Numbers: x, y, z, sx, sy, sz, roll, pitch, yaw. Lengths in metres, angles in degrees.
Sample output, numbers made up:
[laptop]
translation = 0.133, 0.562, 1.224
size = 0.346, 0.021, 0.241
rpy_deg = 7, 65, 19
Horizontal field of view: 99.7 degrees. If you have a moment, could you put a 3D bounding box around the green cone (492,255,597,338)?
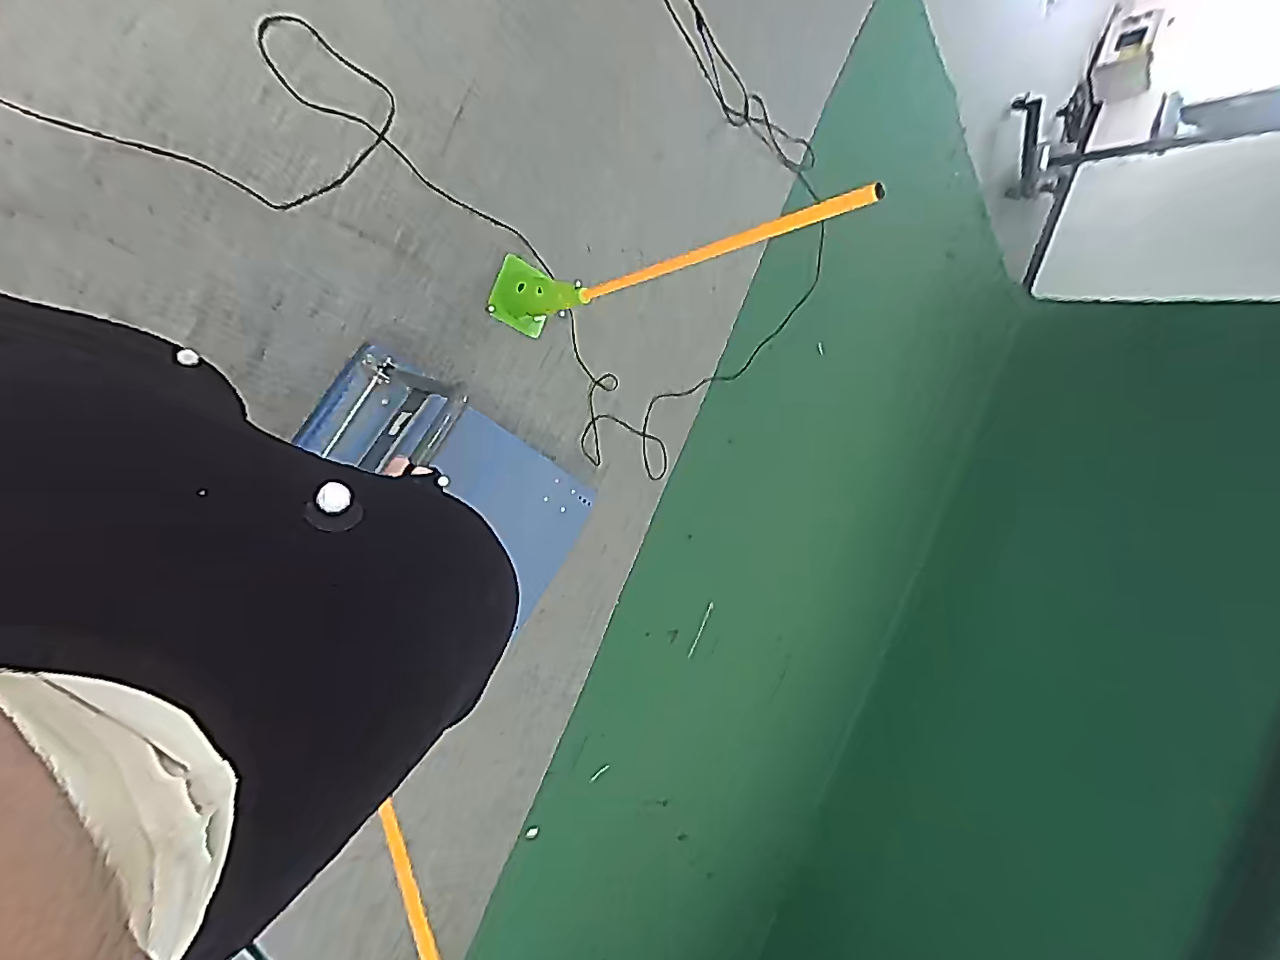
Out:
[green cone]
translation = -0.247, -0.540, 1.586
size = 0.200, 0.368, 0.202
rpy_deg = 20, 89, -43
